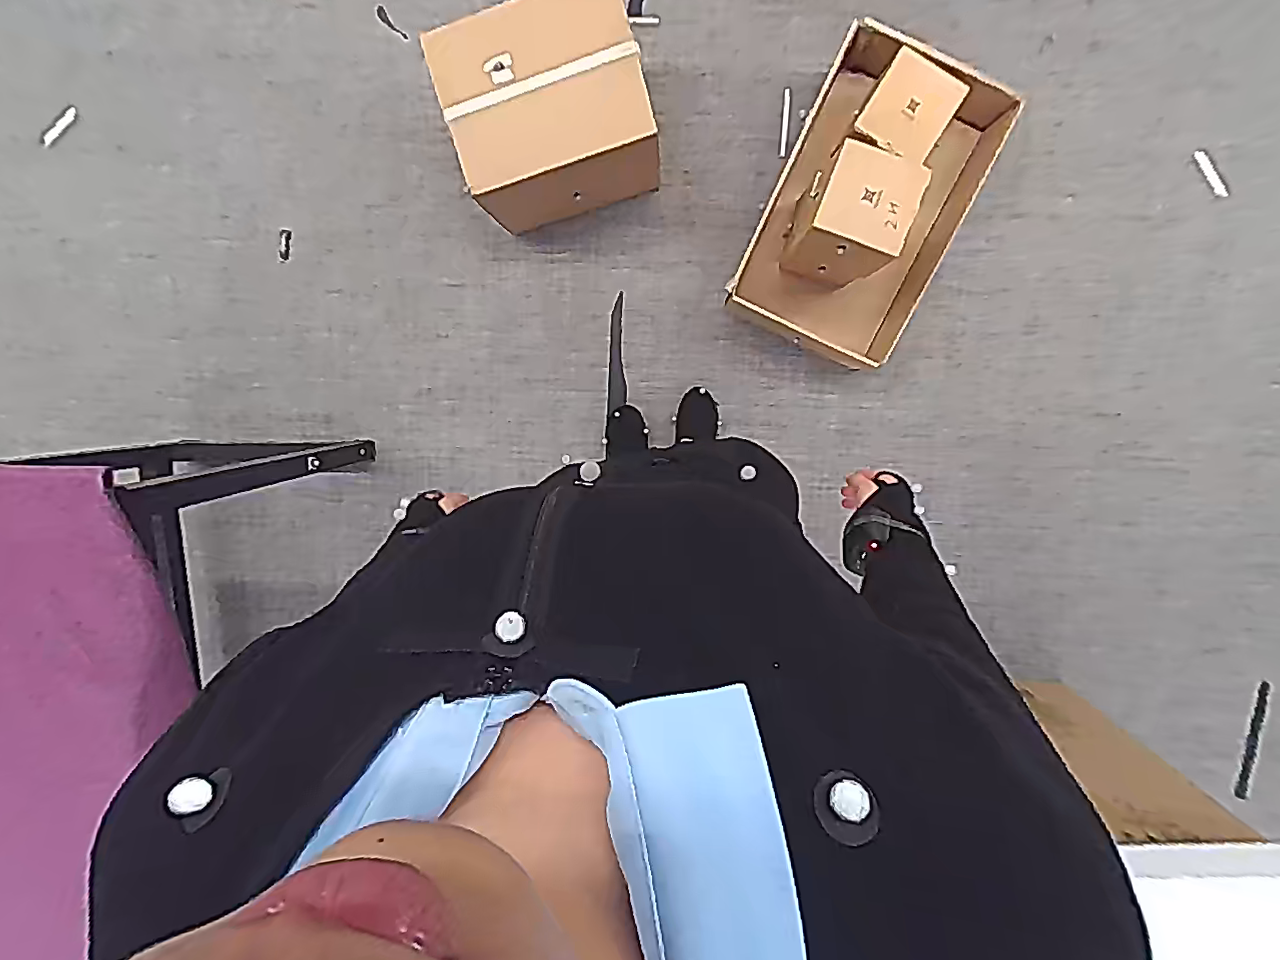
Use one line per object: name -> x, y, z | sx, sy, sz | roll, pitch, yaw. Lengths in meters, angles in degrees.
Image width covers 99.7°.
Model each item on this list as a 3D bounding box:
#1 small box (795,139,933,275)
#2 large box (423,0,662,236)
small box -> 0.430, -0.527, 1.073 | 0.179, 0.176, 0.168 | 21, 98, -1
large box -> -0.187, -0.797, 1.209 | 0.408, 0.320, 0.320 | -16, 98, 7
